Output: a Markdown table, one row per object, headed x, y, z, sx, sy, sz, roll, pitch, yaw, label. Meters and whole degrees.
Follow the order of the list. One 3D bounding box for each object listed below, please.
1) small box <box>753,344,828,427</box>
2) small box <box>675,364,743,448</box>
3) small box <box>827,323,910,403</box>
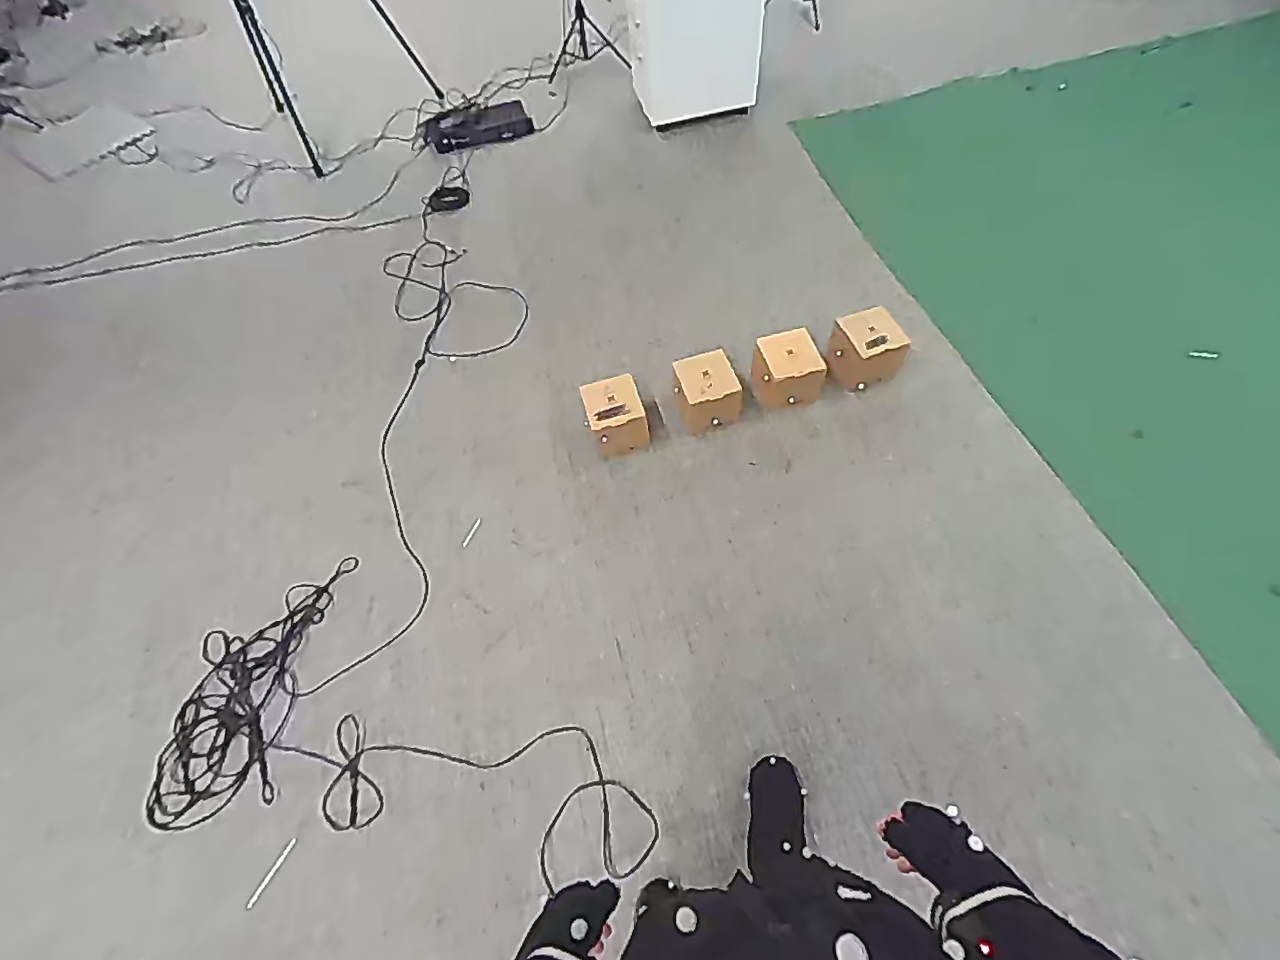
| x | y | z | sx | sy | sz | roll | pitch | yaw | label |
| --- | --- | --- | --- | --- | --- | --- | --- | --- | --- |
| 0.468 | -0.298 | 1.719 | 0.168 | 0.176 | 0.179 | -14 | 59 | -4 | small box |
| 0.210 | -0.228 | 1.694 | 0.168 | 0.176 | 0.179 | -16 | 59 | -4 | small box |
| 0.727 | -0.368 | 1.740 | 0.168 | 0.176 | 0.179 | -17 | 59 | -6 | small box |
